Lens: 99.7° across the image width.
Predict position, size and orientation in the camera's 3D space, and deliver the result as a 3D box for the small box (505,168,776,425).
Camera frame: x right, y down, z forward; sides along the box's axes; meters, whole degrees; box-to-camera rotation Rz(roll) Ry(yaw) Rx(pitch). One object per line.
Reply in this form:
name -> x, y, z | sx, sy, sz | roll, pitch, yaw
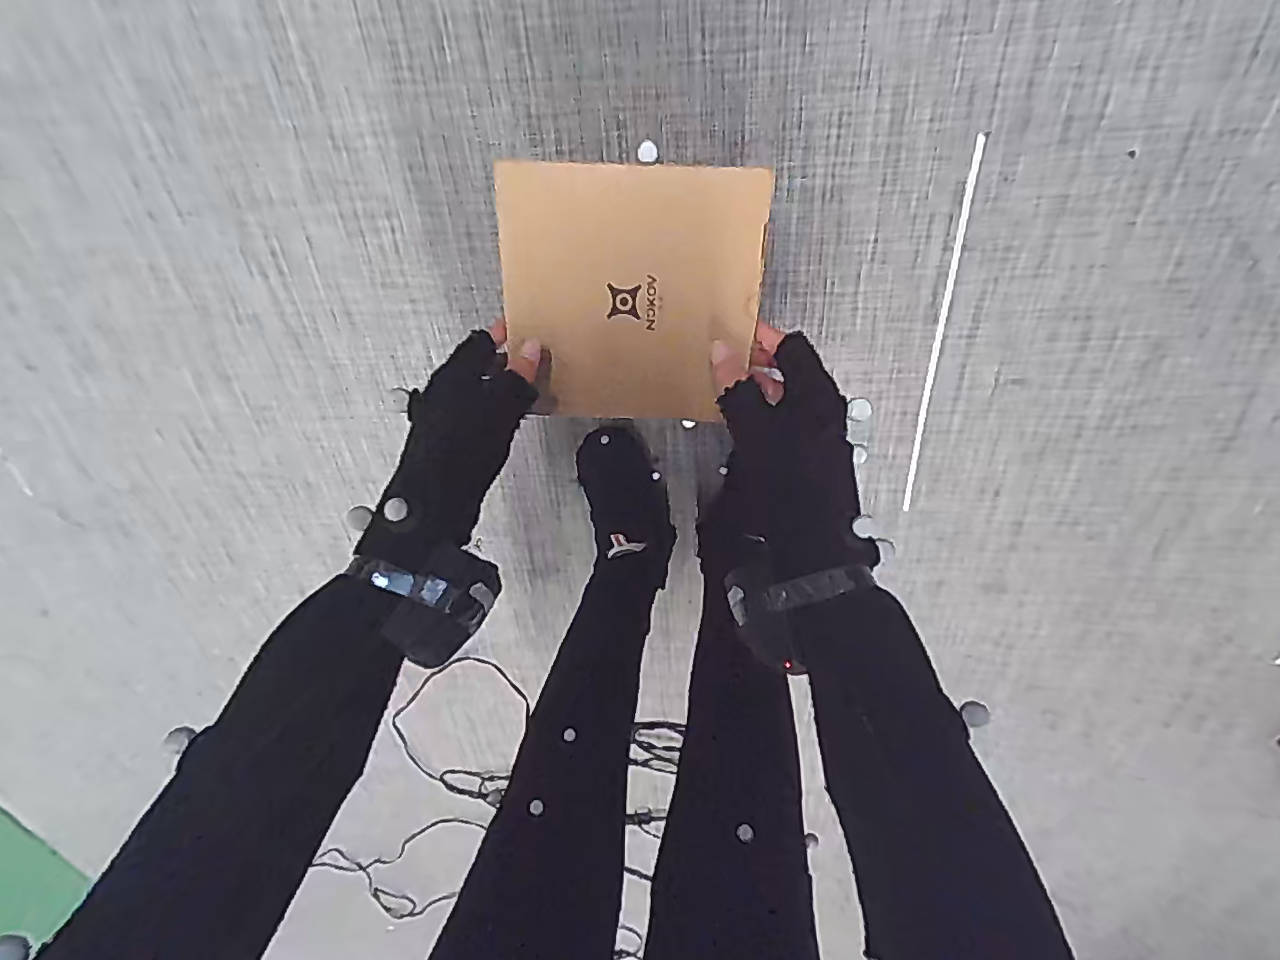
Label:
small box -> 0.000, -0.151, 0.447 | 0.179, 0.176, 0.168 | 2, 114, 1
